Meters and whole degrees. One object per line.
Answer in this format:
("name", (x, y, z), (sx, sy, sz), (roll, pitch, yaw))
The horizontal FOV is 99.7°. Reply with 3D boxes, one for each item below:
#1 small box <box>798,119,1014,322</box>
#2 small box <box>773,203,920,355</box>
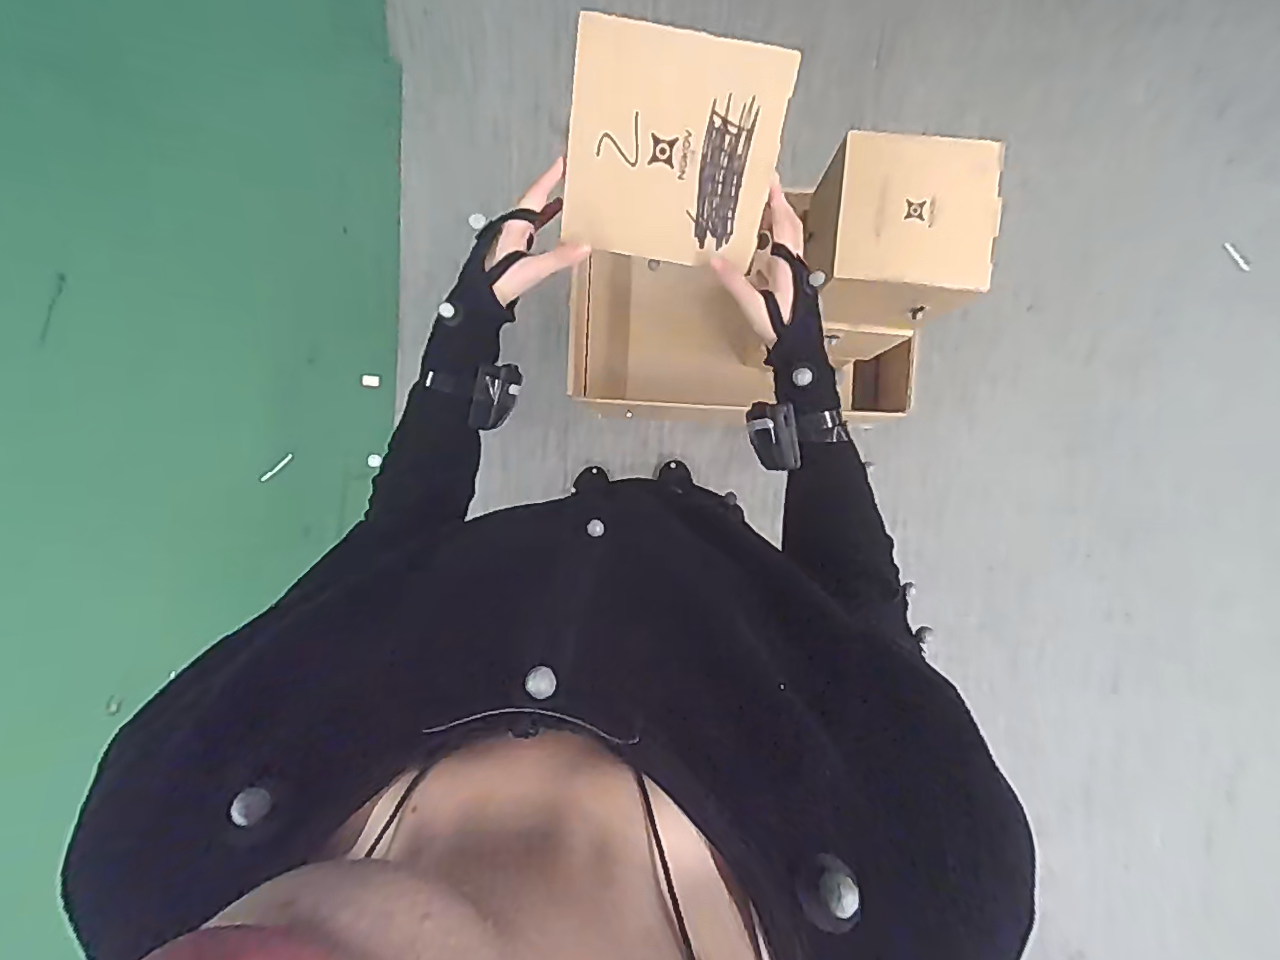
("small box", (0.309, -0.301, 0.663), (0.179, 0.176, 0.168), (6, 91, 3))
("small box", (0.310, -0.295, 0.826), (0.179, 0.176, 0.168), (7, 91, 2))
